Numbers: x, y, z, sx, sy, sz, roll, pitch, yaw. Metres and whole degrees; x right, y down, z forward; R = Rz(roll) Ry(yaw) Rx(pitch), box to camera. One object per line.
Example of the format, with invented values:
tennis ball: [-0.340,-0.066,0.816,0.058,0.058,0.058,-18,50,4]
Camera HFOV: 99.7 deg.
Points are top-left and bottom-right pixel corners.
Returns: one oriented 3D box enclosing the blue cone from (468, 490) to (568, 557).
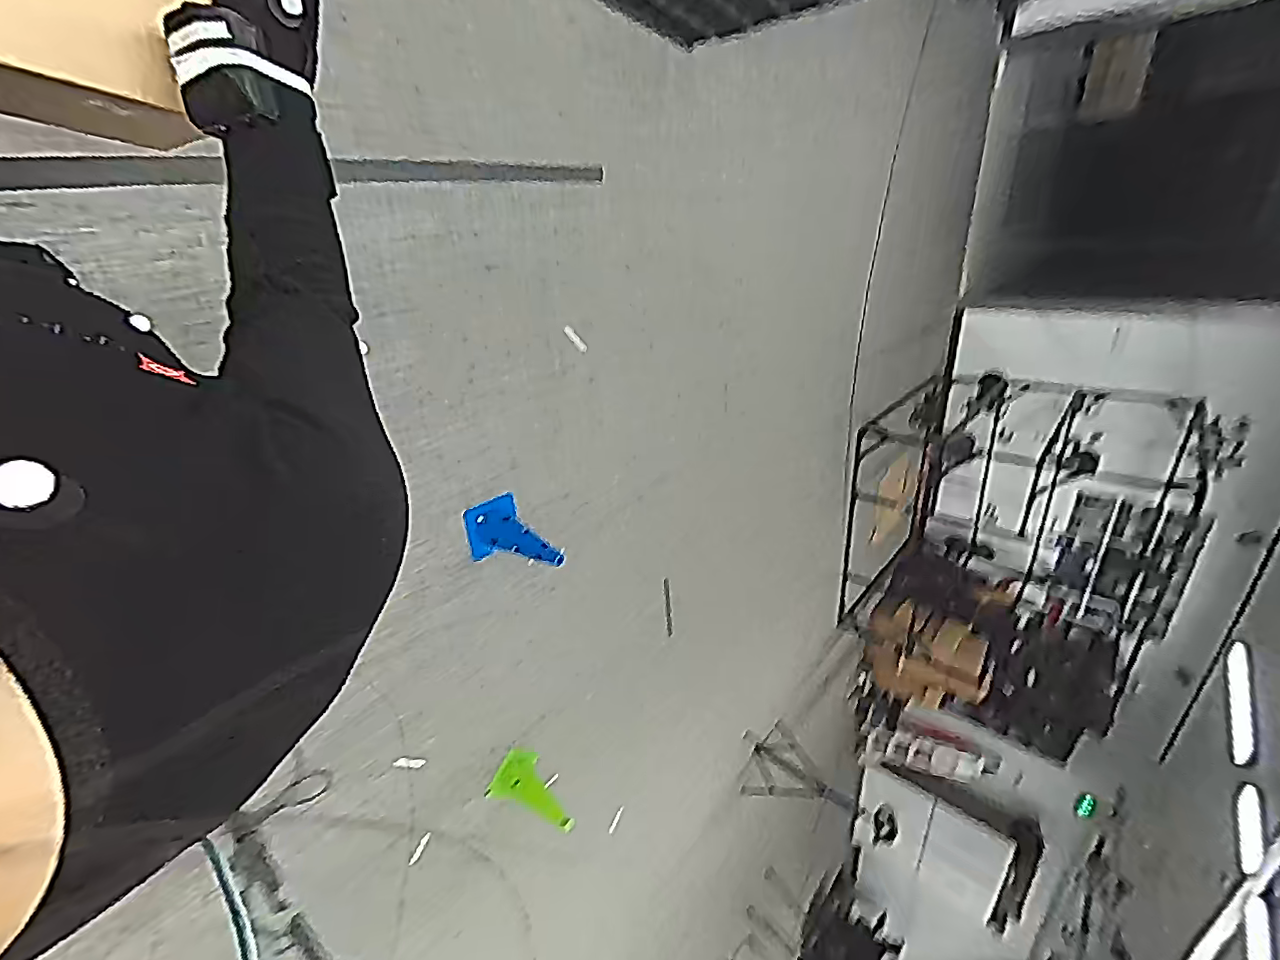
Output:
blue cone: [-0.382,0.182,1.772,0.192,0.380,0.193,-26,123,-44]

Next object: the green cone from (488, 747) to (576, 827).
green cone: [-0.391,1.253,2.140,0.202,0.368,0.200,-61,141,-16]

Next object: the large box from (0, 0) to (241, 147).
large box: [-0.536,-0.441,0.326,0.408,0.320,0.320,-11,117,-48]
